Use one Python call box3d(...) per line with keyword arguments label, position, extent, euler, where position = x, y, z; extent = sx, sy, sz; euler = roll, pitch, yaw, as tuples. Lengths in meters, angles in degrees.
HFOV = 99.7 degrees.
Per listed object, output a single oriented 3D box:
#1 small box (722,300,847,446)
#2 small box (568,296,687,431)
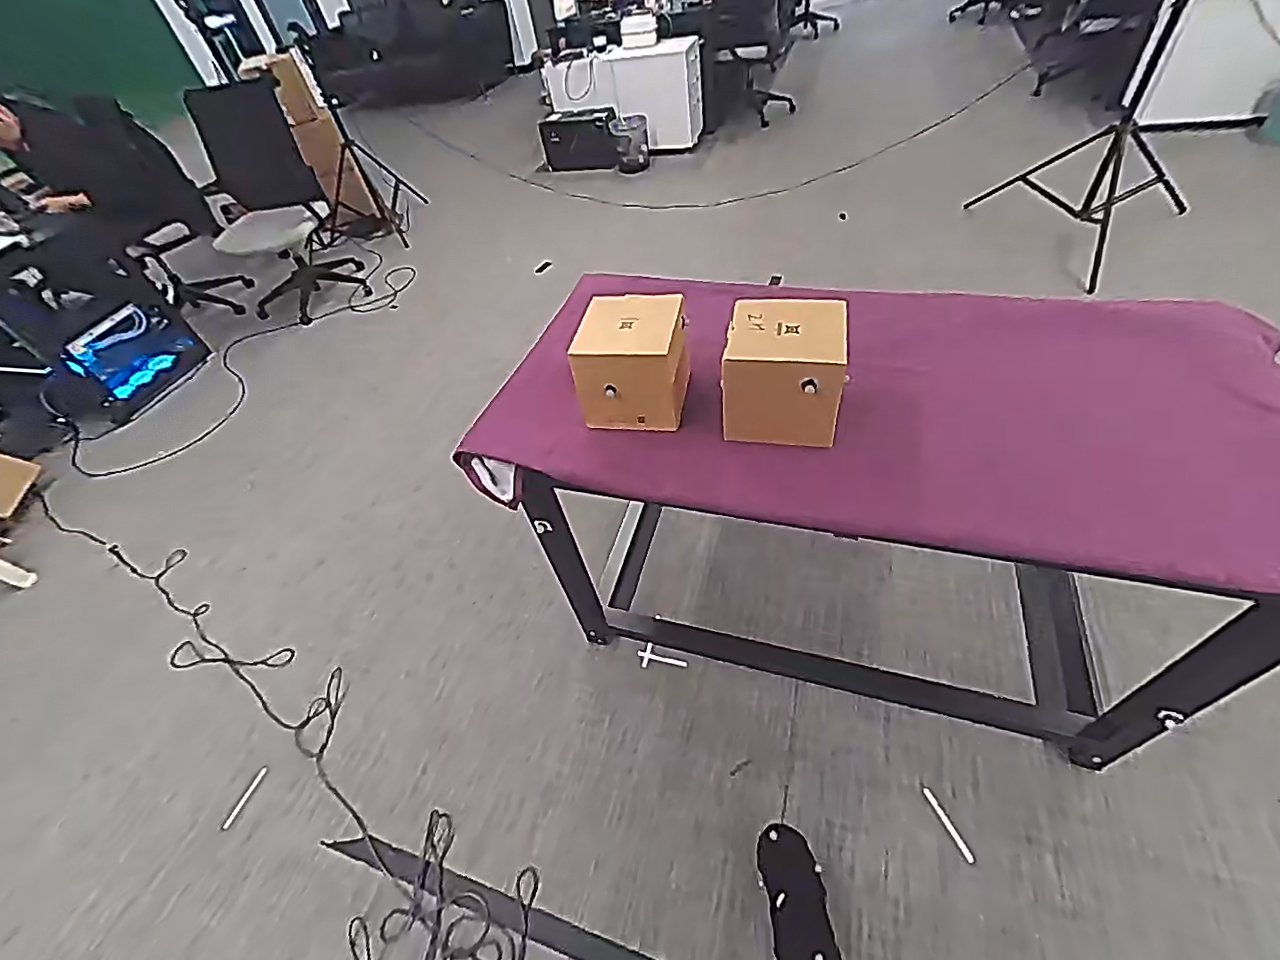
box3d(label="small box", position=(0.232, -0.172, 0.881), extent=(0.179, 0.176, 0.168), euler=(5, 49, 15))
box3d(label="small box", position=(-0.011, -0.203, 0.958), extent=(0.168, 0.176, 0.179), euler=(3, 48, 13))
